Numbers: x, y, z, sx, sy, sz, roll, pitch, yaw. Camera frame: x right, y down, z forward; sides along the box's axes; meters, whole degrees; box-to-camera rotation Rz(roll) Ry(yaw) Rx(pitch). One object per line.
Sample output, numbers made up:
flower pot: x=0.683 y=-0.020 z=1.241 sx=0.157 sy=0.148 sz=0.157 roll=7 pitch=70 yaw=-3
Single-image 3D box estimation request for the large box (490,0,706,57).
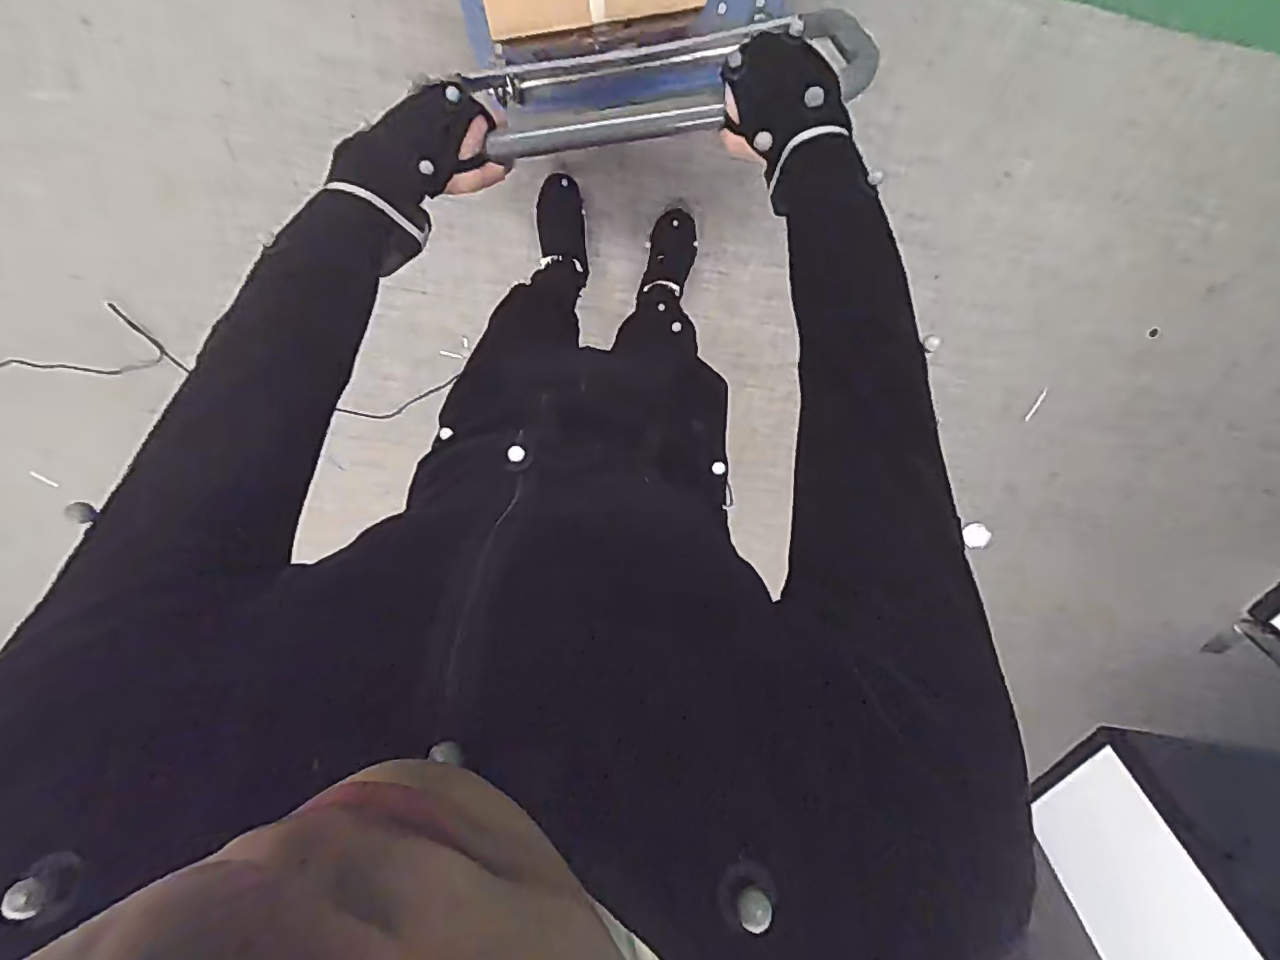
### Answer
large box: x=-0.077 y=-0.903 z=0.790 sx=0.320 sy=0.320 sz=0.408 roll=-5 pitch=125 yaw=4
